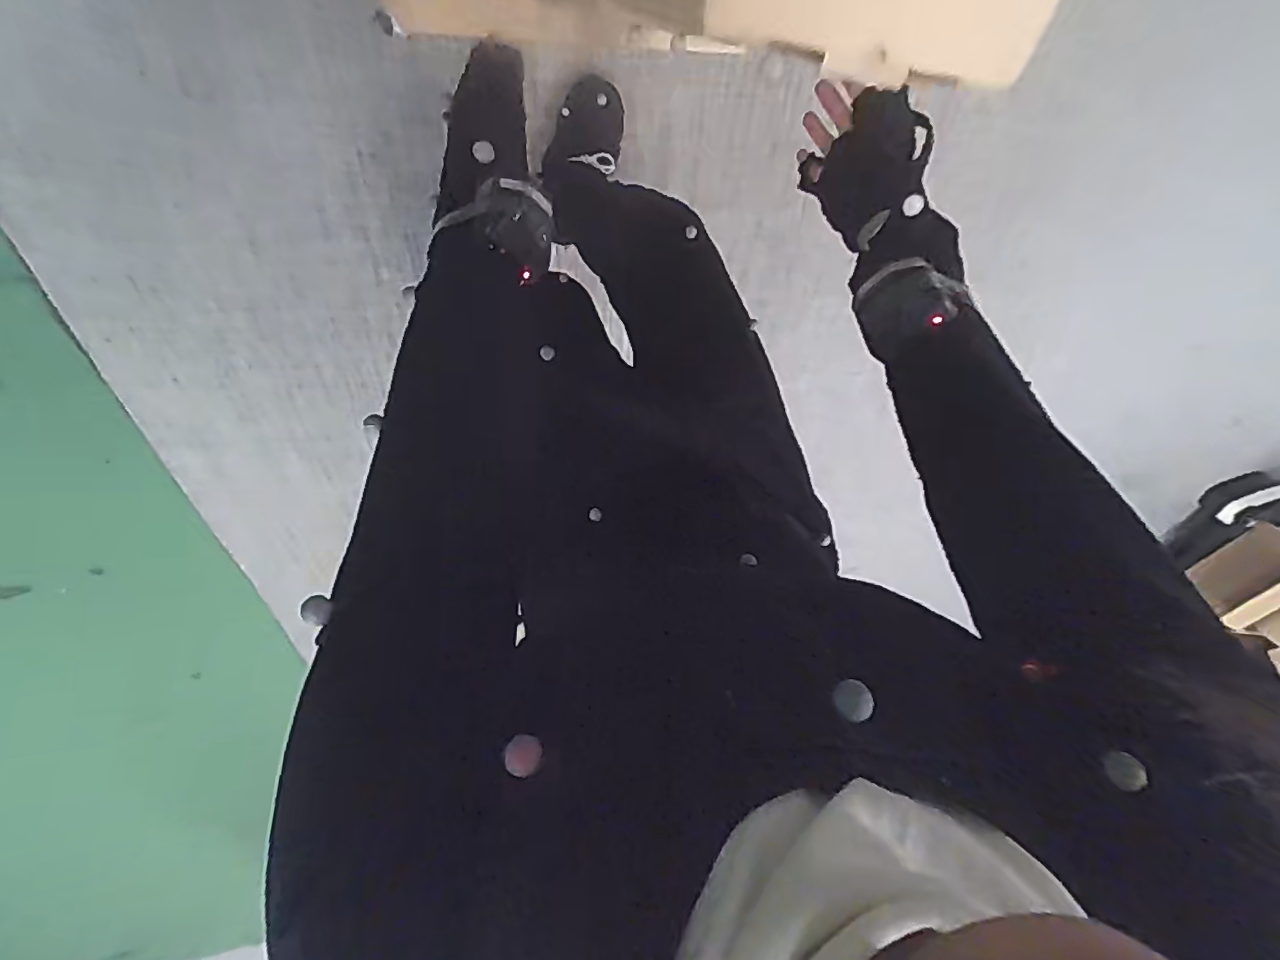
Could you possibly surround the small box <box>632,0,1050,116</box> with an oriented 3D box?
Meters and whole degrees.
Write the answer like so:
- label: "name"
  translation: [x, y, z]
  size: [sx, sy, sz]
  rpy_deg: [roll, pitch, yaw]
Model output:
- label: "small box"
  translation: [0.095, -0.299, 0.250]
  size: [0.168, 0.176, 0.179]
  rpy_deg: [-3, 134, -17]
